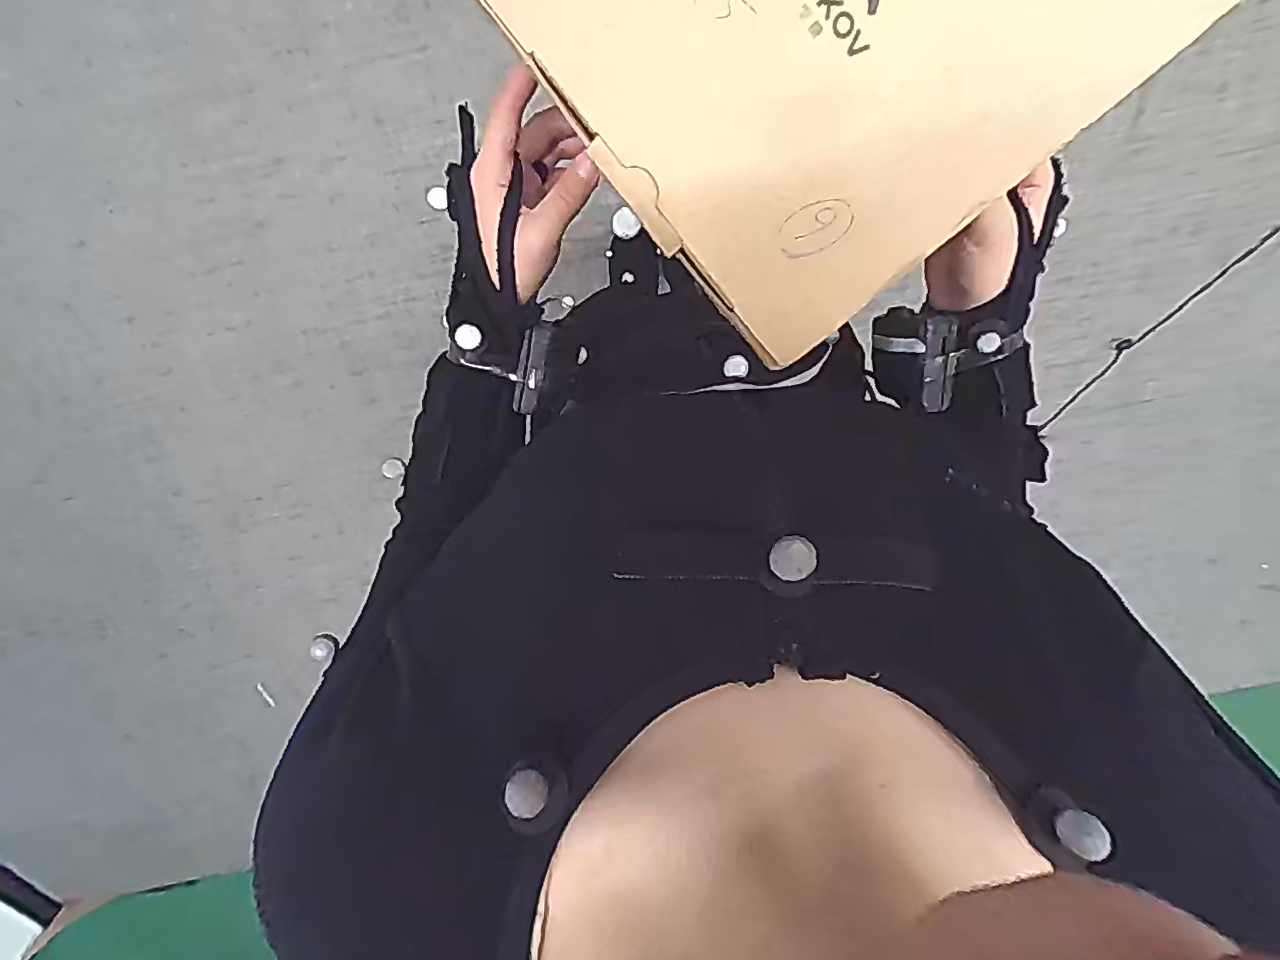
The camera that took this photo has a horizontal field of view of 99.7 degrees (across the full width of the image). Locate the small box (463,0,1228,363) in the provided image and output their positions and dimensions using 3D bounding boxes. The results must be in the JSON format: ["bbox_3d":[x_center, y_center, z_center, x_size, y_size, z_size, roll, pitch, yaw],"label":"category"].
[{"bbox_3d":[0.063,-0.182,0.234,0.179,0.176,0.168,-38,107,18],"label":"small box"}]
